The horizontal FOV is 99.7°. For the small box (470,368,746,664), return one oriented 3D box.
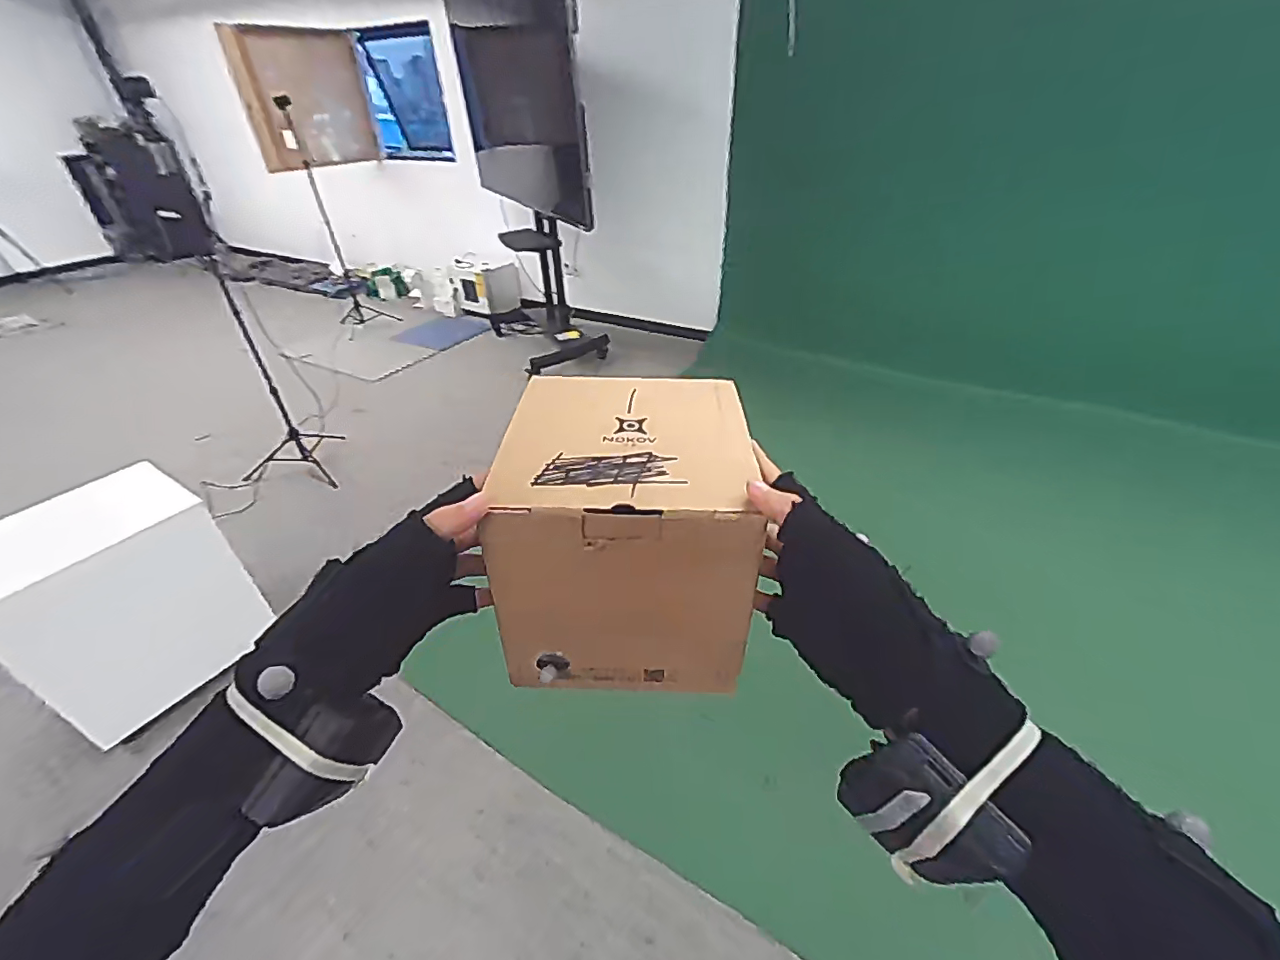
[{"bbox_3d":[-0.014,0.023,0.424,0.168,0.176,0.179,1,34,1],"label":"small box"}]
